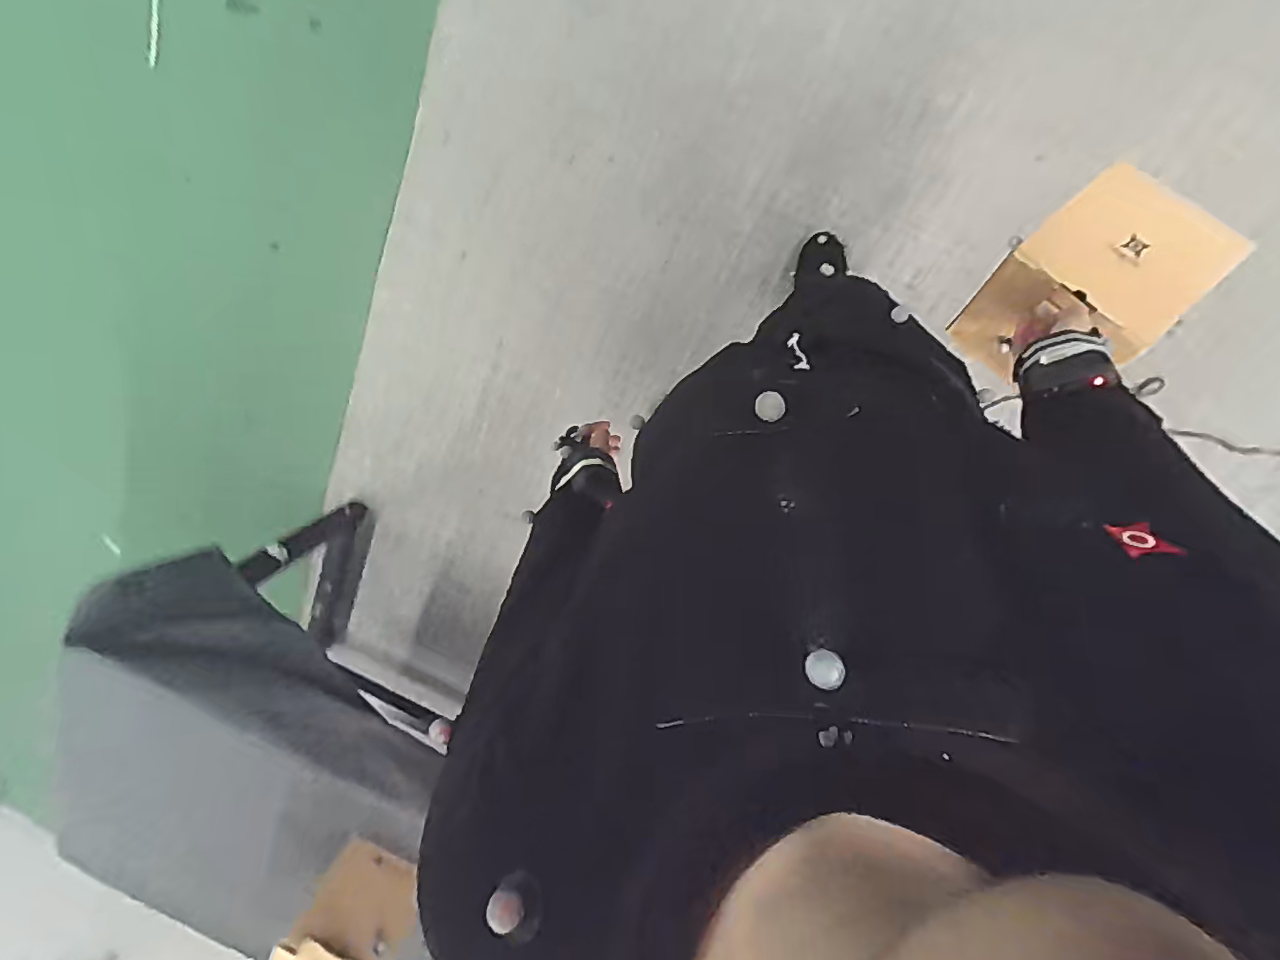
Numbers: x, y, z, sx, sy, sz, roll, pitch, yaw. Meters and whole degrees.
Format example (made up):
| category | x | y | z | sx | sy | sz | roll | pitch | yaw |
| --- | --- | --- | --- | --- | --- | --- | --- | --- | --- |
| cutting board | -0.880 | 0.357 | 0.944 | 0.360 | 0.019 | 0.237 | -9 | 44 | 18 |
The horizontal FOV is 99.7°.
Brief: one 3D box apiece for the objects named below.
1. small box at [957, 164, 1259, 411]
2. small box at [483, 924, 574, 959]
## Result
| category | x | y | z | sx | sy | sz | roll | pitch | yaw |
| --- | --- | --- | --- | --- | --- | --- | --- | --- | --- |
| small box | 0.527 | -0.215 | 0.641 | 0.179 | 0.176 | 0.168 | -40 | 75 | -7 |
| small box | -0.198 | 0.872 | 0.868 | 0.168 | 0.176 | 0.179 | 29 | 113 | 1 |
